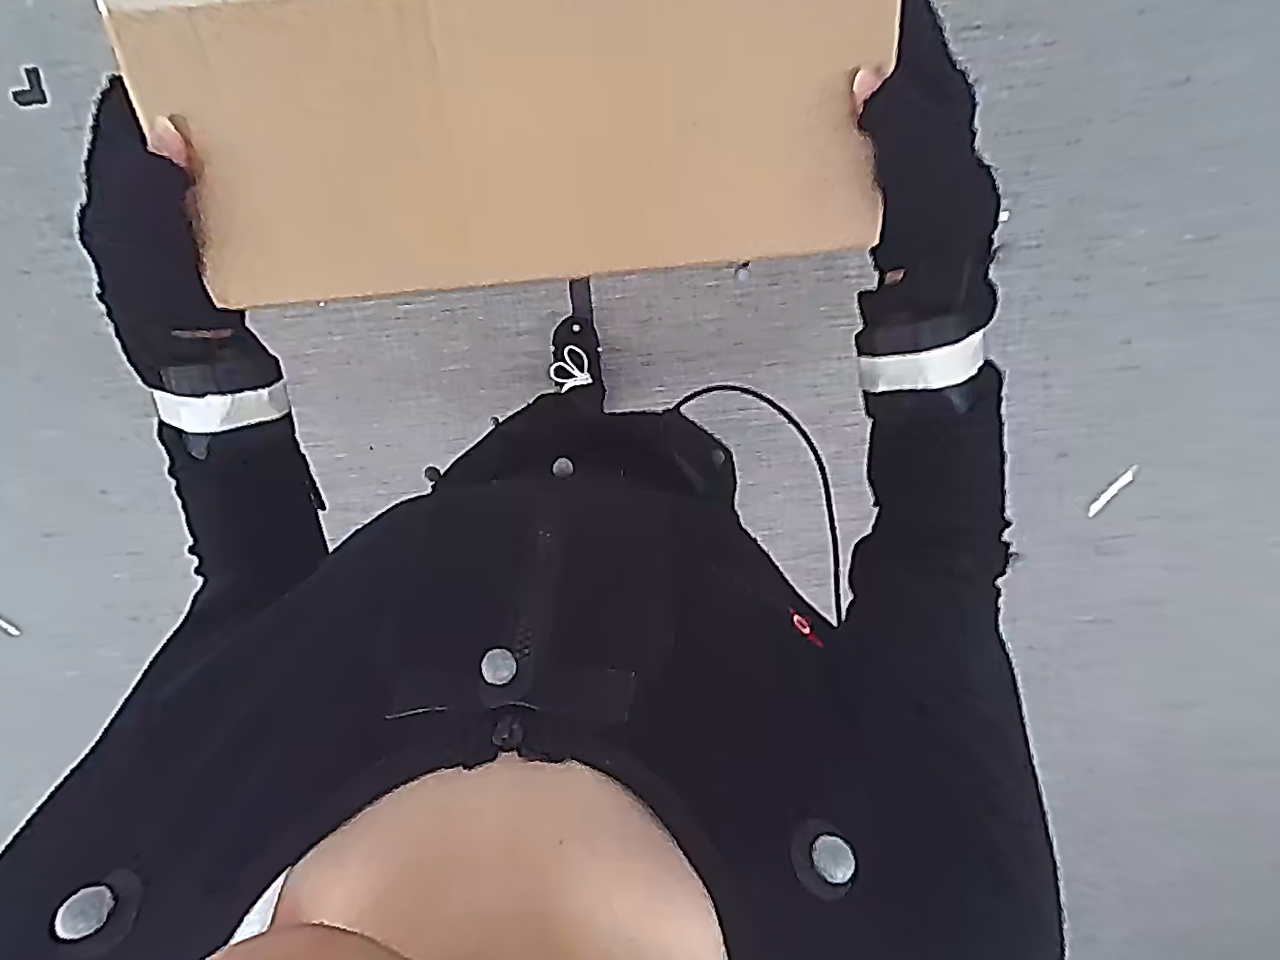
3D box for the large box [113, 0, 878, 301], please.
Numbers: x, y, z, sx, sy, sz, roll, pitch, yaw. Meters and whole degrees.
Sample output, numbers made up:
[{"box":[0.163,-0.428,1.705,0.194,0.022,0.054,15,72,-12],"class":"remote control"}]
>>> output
[{"box":[-0.075,-0.331,0.408,0.408,0.320,0.320,-5,113,2],"class":"large box"}]
